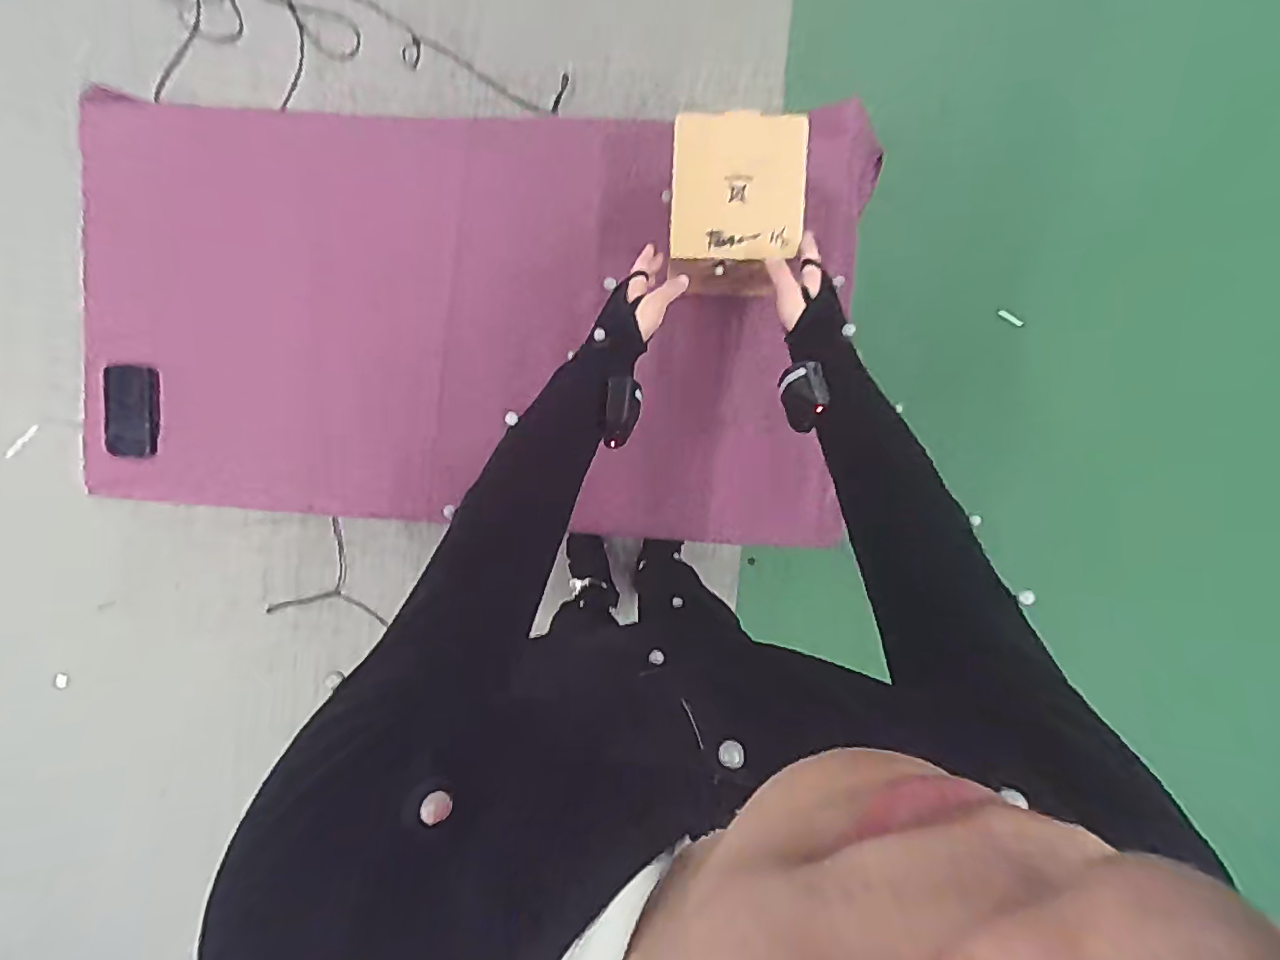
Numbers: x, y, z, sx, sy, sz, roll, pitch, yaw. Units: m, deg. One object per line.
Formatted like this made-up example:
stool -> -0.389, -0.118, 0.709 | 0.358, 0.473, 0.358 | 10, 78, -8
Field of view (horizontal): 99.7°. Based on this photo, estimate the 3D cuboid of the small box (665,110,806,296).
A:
small box -> 0.121, -0.369, 0.745 | 0.168, 0.176, 0.179 | 2, 94, 3
